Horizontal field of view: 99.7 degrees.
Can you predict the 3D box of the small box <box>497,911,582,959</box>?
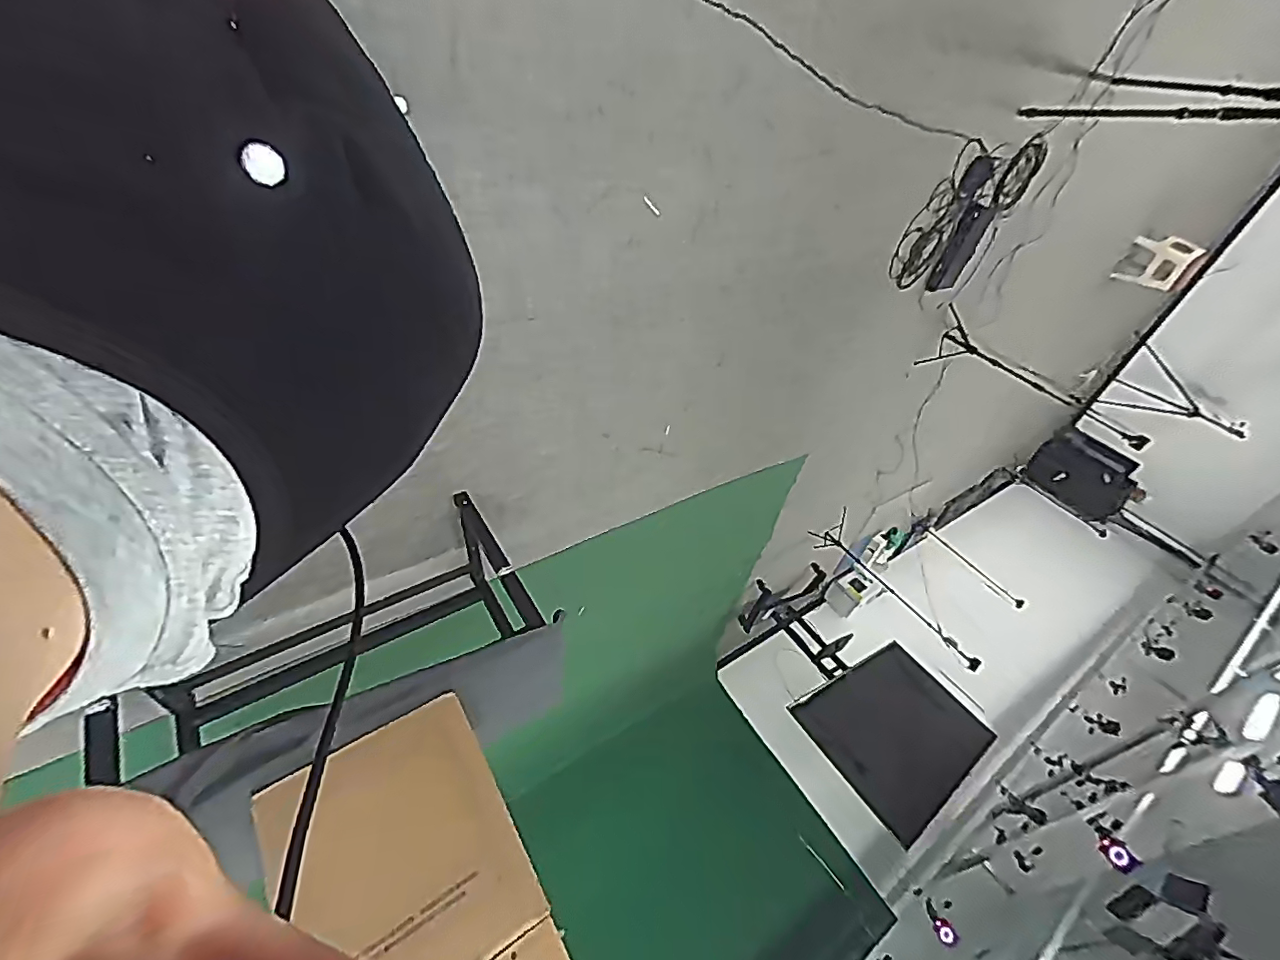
[{"bbox_3d":[-0.228,1.162,1.271,0.168,0.176,0.179,-23,142,-28],"label":"small box"}]
